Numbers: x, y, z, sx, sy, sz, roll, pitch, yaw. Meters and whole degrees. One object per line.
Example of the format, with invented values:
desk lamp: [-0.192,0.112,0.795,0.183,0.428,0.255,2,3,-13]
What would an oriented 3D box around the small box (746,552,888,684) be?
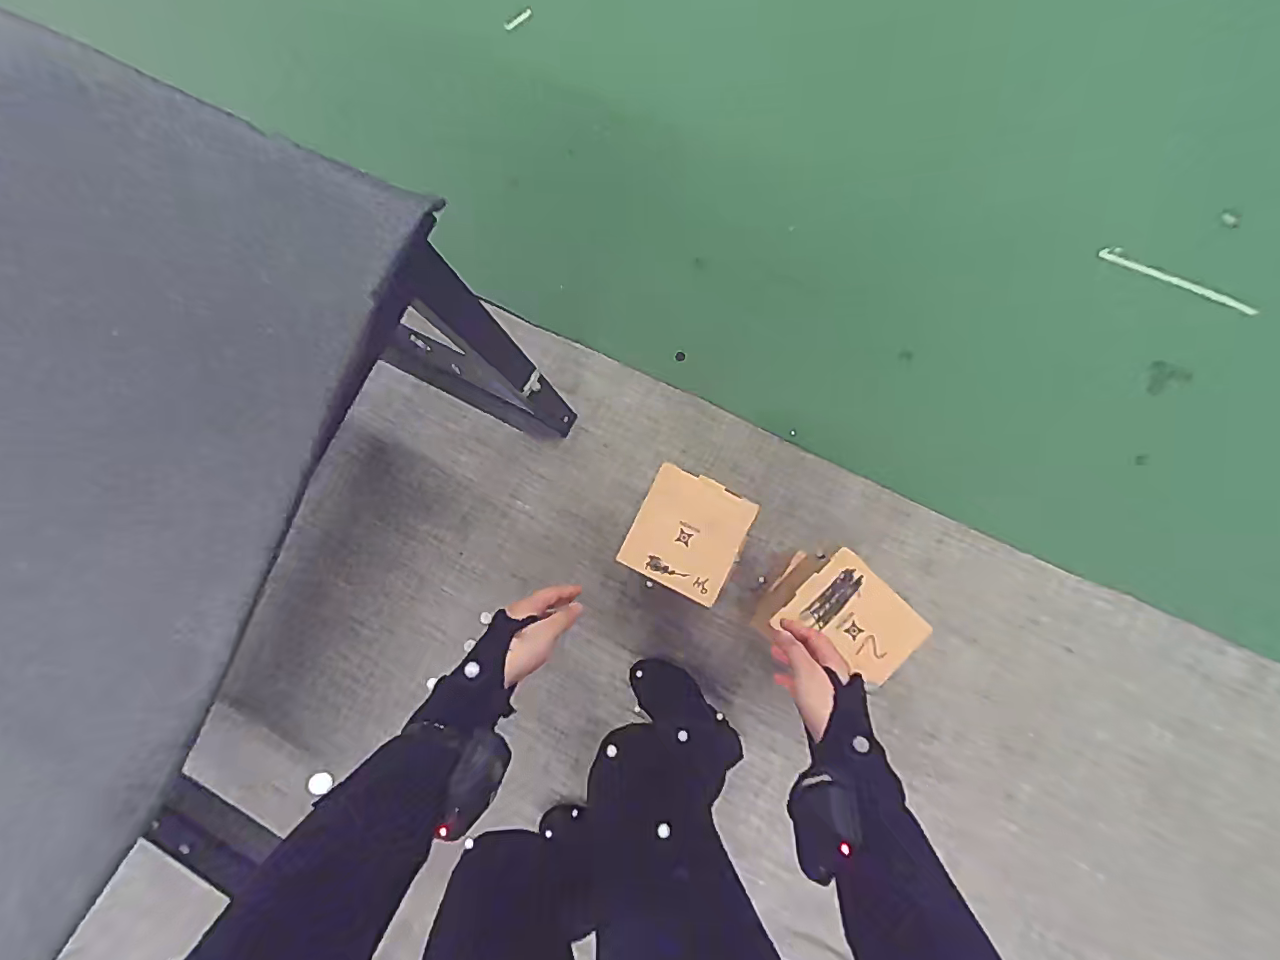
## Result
small box: [0.323,0.247,1.026,0.179,0.176,0.168,35,87,8]

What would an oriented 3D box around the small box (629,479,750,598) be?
small box: [0.098,0.113,1.065,0.179,0.176,0.168,25,86,9]
